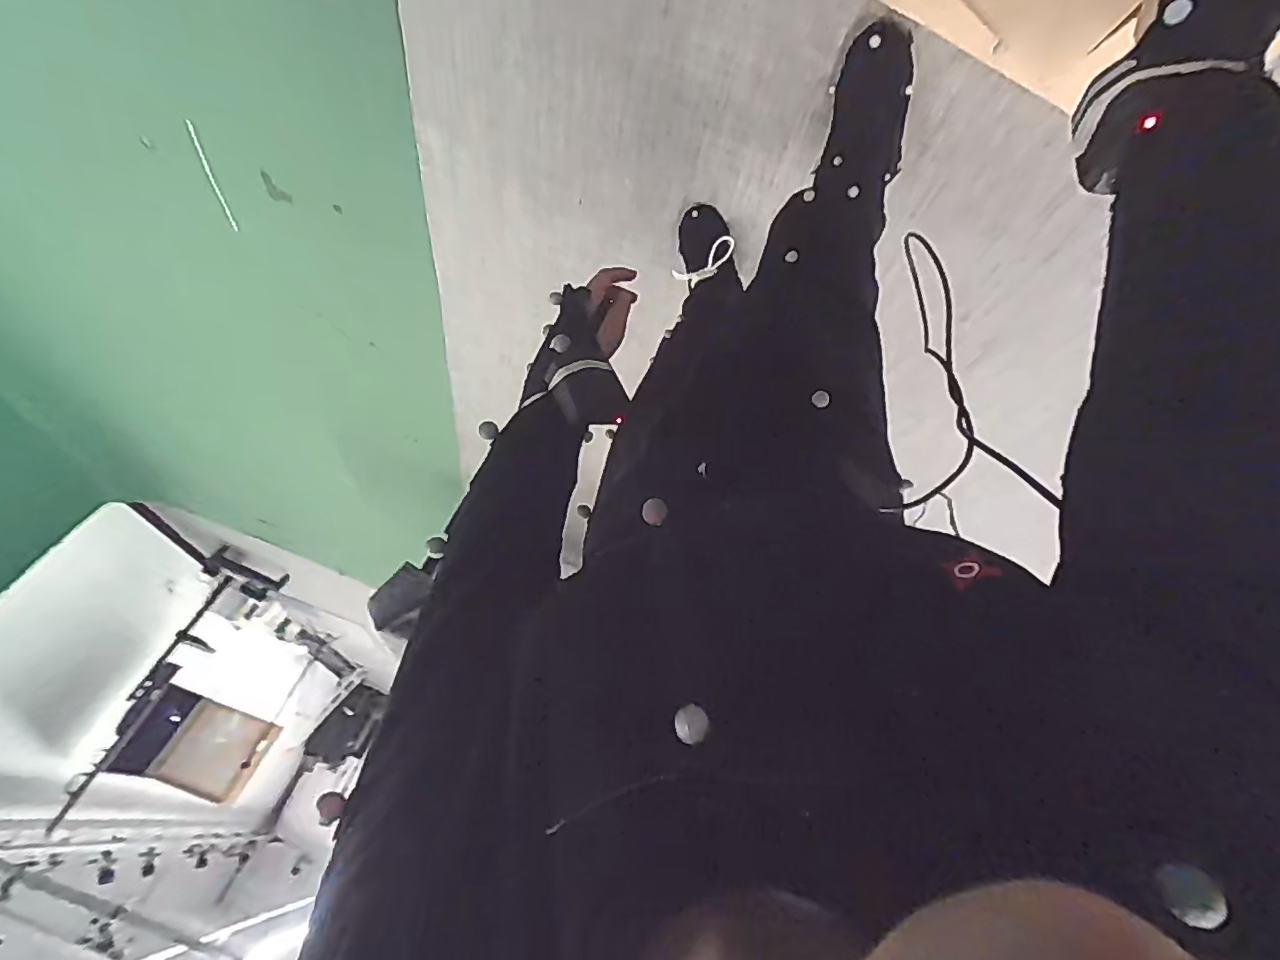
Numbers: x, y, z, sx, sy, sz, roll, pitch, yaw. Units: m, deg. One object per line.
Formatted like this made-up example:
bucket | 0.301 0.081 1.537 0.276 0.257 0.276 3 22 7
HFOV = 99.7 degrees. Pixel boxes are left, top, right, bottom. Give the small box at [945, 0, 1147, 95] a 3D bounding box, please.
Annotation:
small box | 0.341 -0.464 0.430 0.179 0.176 0.168 36 141 -9
